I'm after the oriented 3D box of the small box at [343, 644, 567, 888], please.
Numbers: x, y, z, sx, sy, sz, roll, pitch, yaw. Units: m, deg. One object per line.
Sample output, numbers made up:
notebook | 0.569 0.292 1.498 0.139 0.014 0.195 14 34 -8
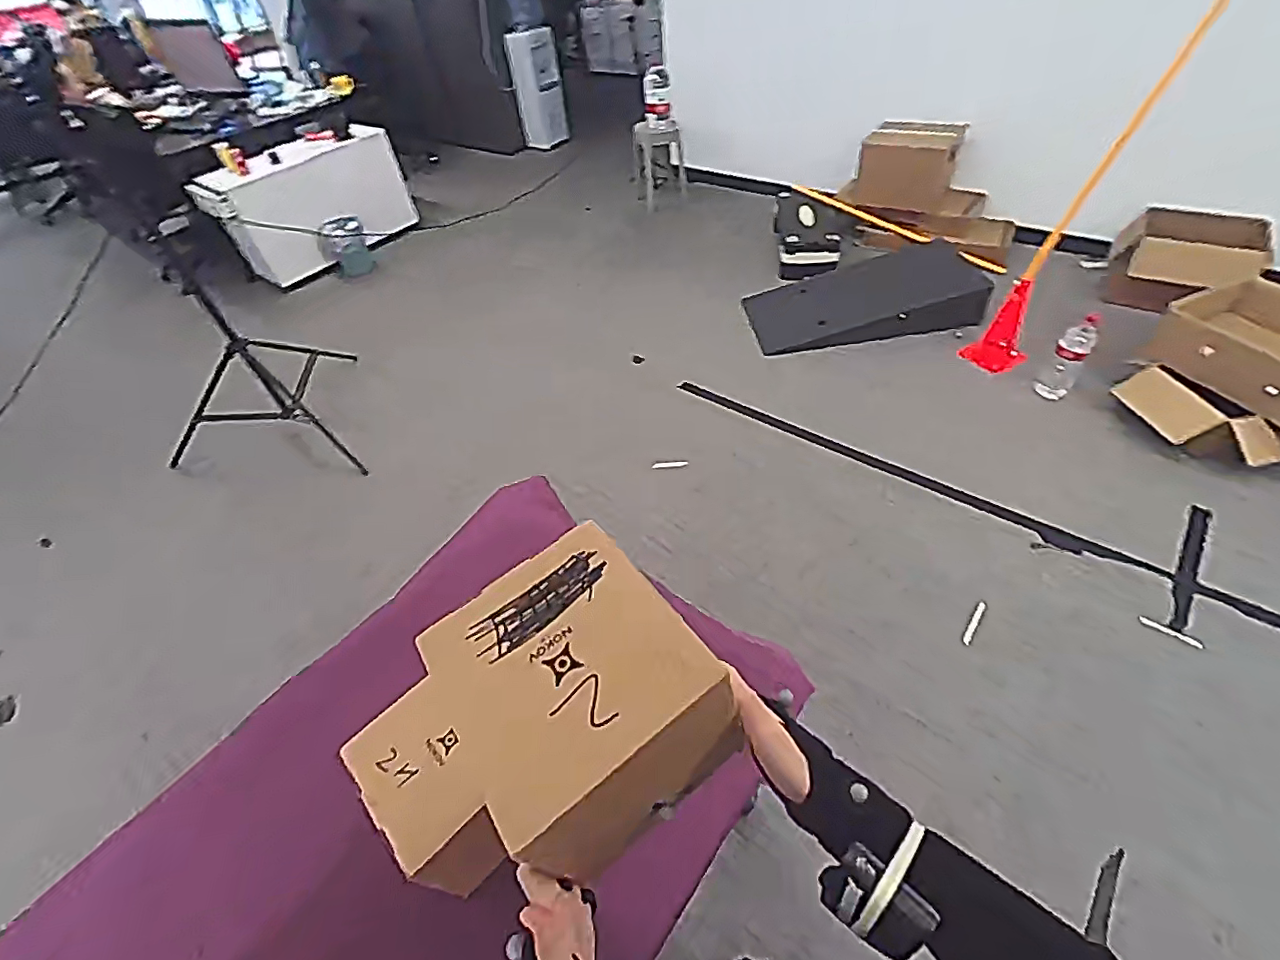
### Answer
small box | -0.204 0.340 0.646 0.179 0.176 0.168 -39 54 -24
